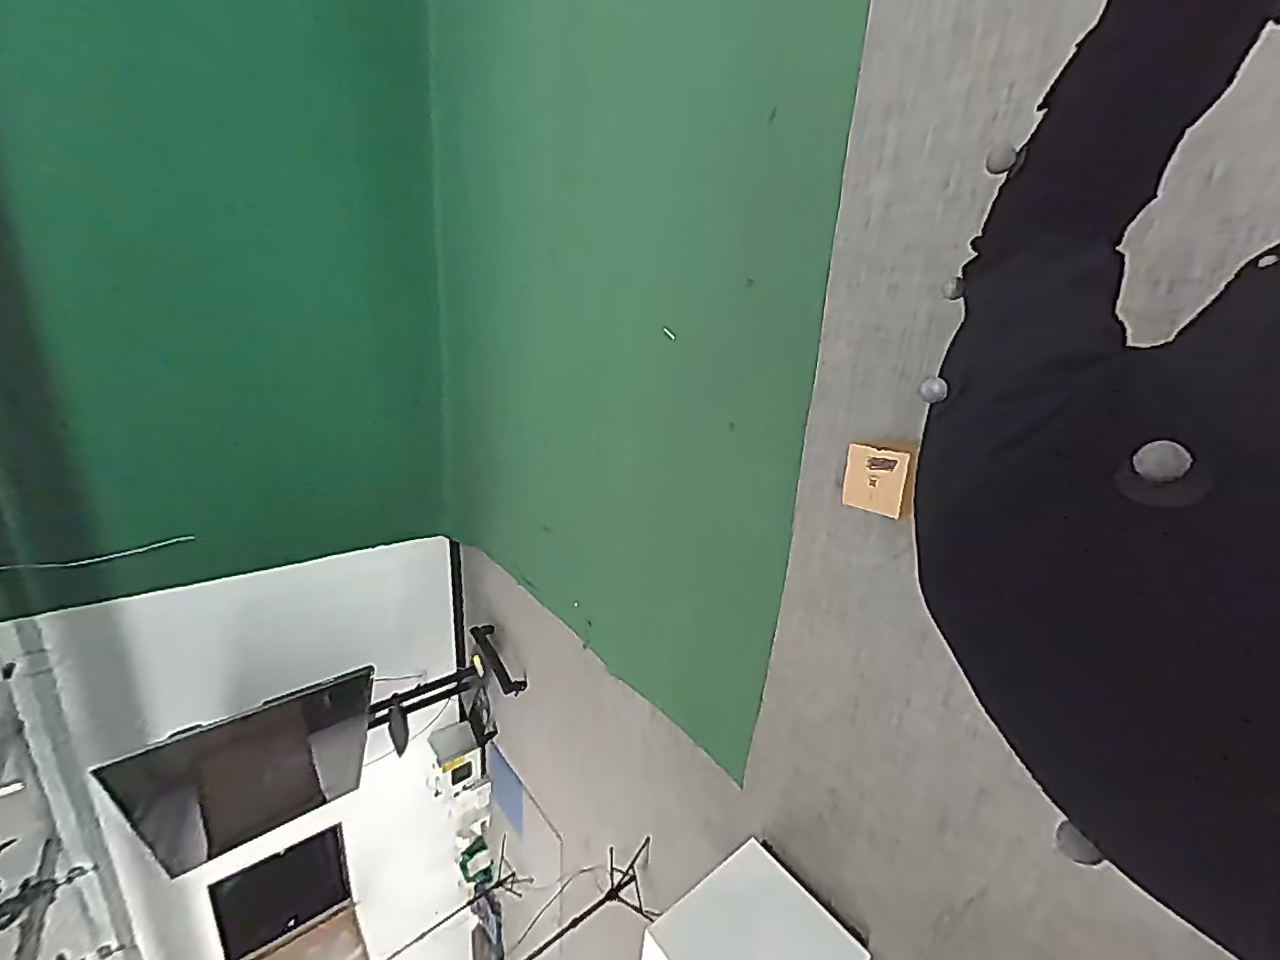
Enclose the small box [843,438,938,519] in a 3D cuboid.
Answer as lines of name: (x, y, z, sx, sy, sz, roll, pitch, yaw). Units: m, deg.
small box: (0.680, -0.012, 1.466, 0.168, 0.176, 0.179, 21, 114, 48)
